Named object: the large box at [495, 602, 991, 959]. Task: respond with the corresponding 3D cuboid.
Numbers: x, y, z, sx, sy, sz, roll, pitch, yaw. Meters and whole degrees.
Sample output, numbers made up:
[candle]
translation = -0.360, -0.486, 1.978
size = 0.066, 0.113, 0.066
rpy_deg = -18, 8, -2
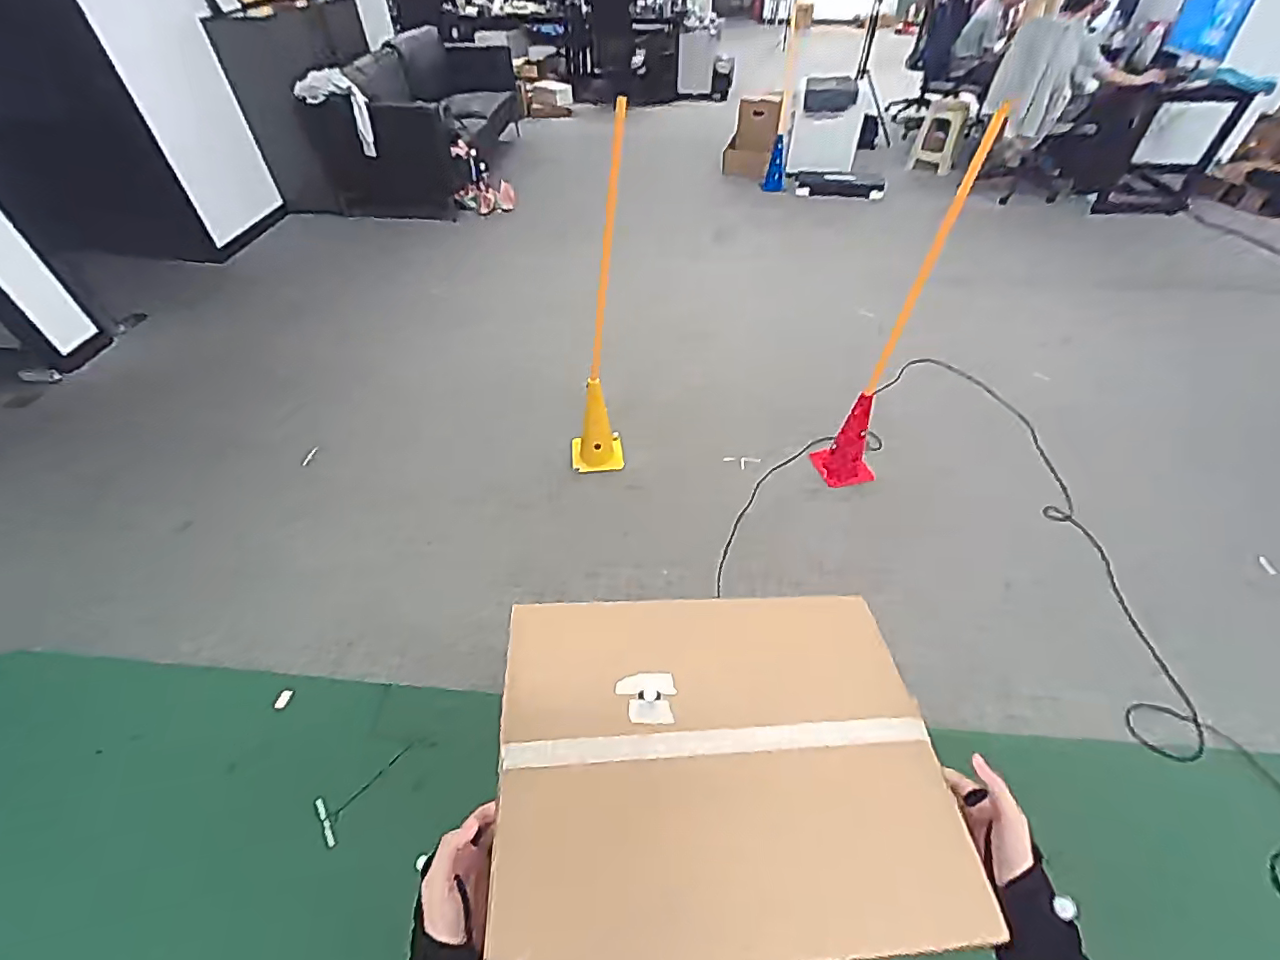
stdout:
[large box]
translation = 0.066, 0.359, 0.619
size = 0.408, 0.320, 0.320
rpy_deg = 0, 46, -7
